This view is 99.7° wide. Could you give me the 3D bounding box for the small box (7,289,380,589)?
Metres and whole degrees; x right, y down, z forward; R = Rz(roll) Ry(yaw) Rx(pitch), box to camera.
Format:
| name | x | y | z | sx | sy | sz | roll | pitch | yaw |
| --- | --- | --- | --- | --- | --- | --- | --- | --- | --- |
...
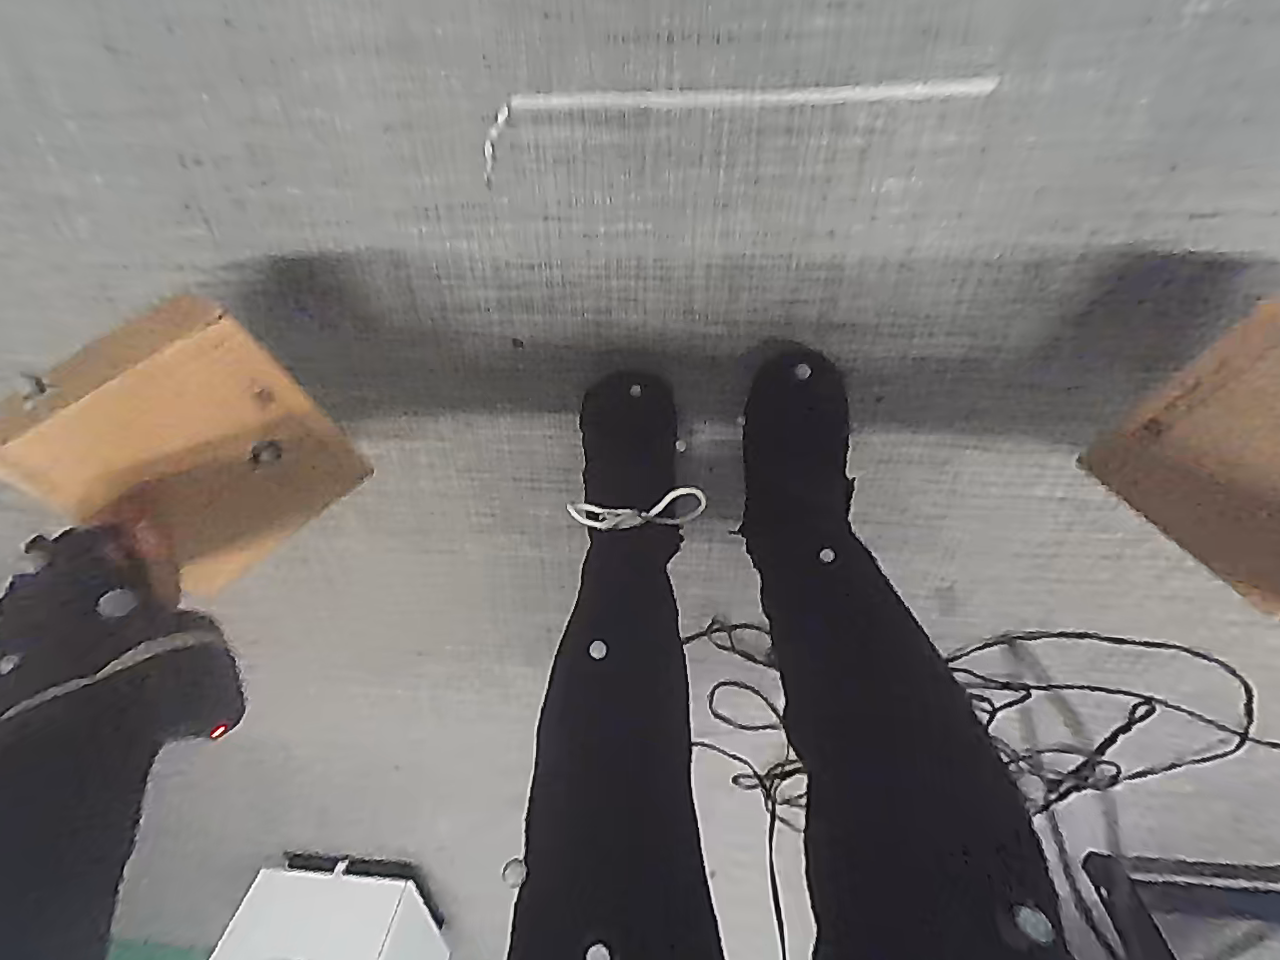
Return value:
| name | x | y | z | sx | sy | sz | roll | pitch | yaw |
| --- | --- | --- | --- | --- | --- | --- | --- | --- | --- |
| small box | -0.367 | -0.045 | 0.468 | 0.179 | 0.176 | 0.168 | 22 | 149 | 36 |
